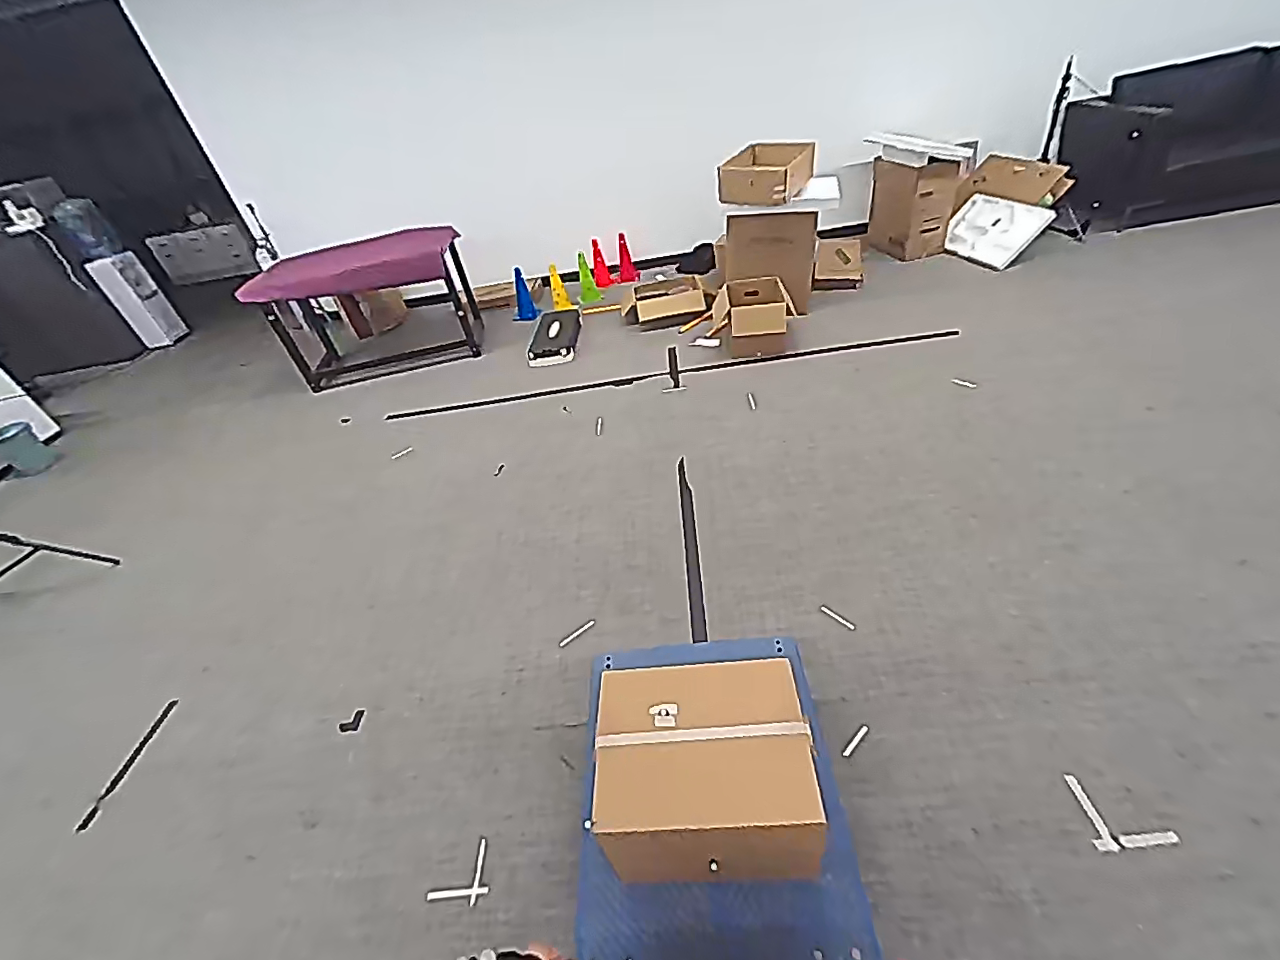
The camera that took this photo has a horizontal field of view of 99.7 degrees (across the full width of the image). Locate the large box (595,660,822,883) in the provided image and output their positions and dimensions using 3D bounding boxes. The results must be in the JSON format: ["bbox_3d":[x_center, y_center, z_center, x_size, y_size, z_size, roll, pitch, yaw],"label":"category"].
[{"bbox_3d":[0.141,0.622,1.150,0.408,0.320,0.320,-8,38,6],"label":"large box"}]
